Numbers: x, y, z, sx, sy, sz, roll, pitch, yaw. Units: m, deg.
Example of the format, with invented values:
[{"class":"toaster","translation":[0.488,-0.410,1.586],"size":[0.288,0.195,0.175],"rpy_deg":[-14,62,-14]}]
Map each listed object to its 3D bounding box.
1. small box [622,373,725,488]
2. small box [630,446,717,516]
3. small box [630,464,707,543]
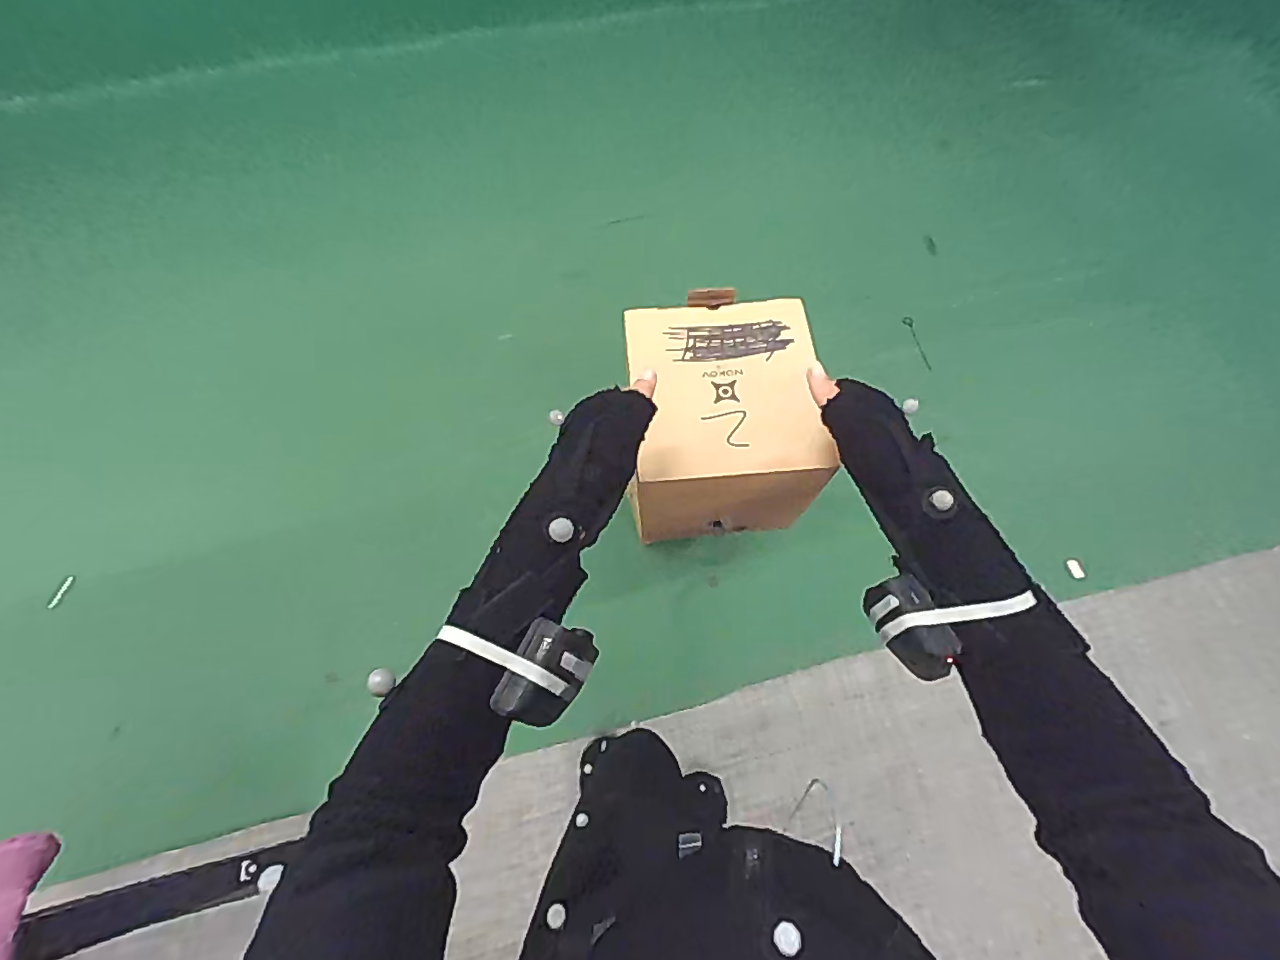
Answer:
[{"class":"small box","translation":[0.067,-0.100,1.161],"size":[0.179,0.176,0.168],"rpy_deg":[-14,64,-6]},{"class":"small box","translation":[0.073,-0.029,1.304],"size":[0.179,0.176,0.168],"rpy_deg":[-11,62,-5]},{"class":"small box","translation":[0.071,0.049,1.452],"size":[0.168,0.176,0.179],"rpy_deg":[-13,64,-5]}]
